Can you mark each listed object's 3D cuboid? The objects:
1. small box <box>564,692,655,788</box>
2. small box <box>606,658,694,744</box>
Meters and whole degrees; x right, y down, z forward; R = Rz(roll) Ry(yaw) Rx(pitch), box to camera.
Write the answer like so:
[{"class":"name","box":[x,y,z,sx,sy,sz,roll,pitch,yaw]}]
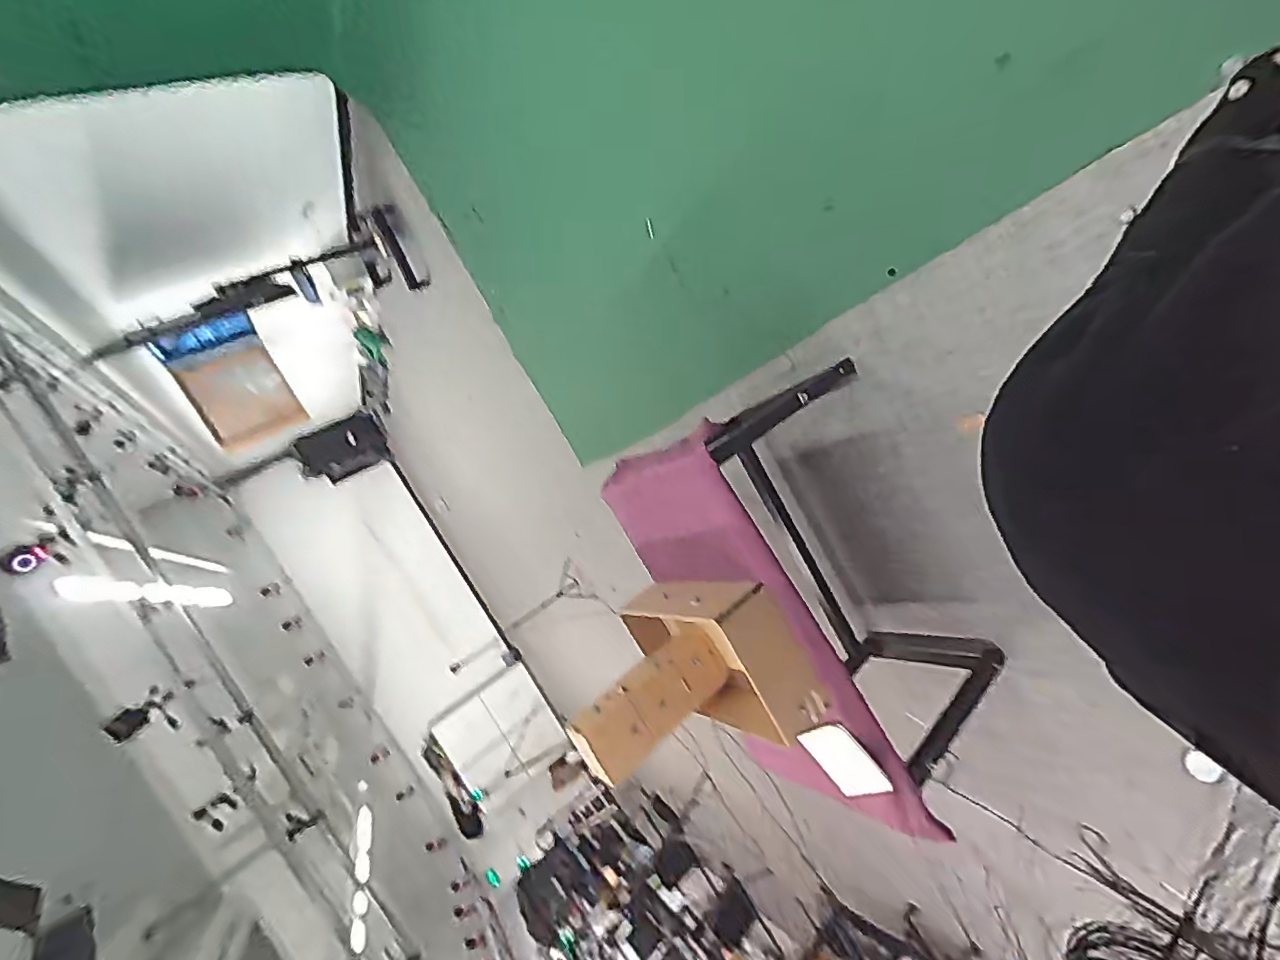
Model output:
[{"class":"small box","box":[-0.088,0.751,1.586,0.179,0.176,0.168,60,151,-4]},{"class":"small box","box":[0.032,0.670,1.663,0.179,0.176,0.168,58,150,-3]}]
